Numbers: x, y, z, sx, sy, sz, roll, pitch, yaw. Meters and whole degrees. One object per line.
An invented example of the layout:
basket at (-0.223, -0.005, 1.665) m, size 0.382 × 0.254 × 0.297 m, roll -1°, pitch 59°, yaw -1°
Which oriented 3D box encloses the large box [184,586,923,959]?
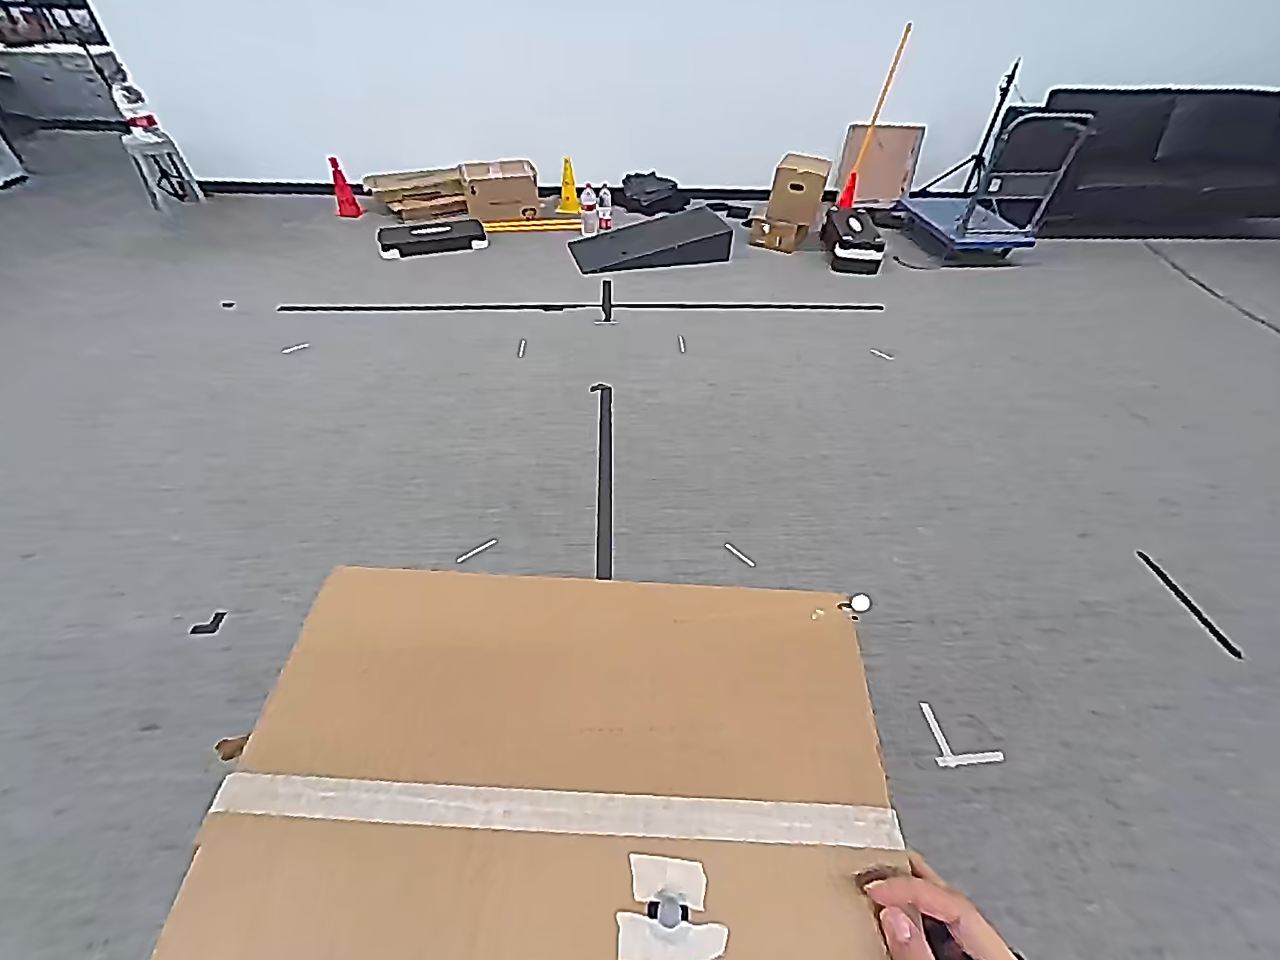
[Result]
large box at (-0.047, 0.304, 0.445) m, size 0.408 × 0.320 × 0.320 m, roll 3°, pitch 51°, yaw 0°
